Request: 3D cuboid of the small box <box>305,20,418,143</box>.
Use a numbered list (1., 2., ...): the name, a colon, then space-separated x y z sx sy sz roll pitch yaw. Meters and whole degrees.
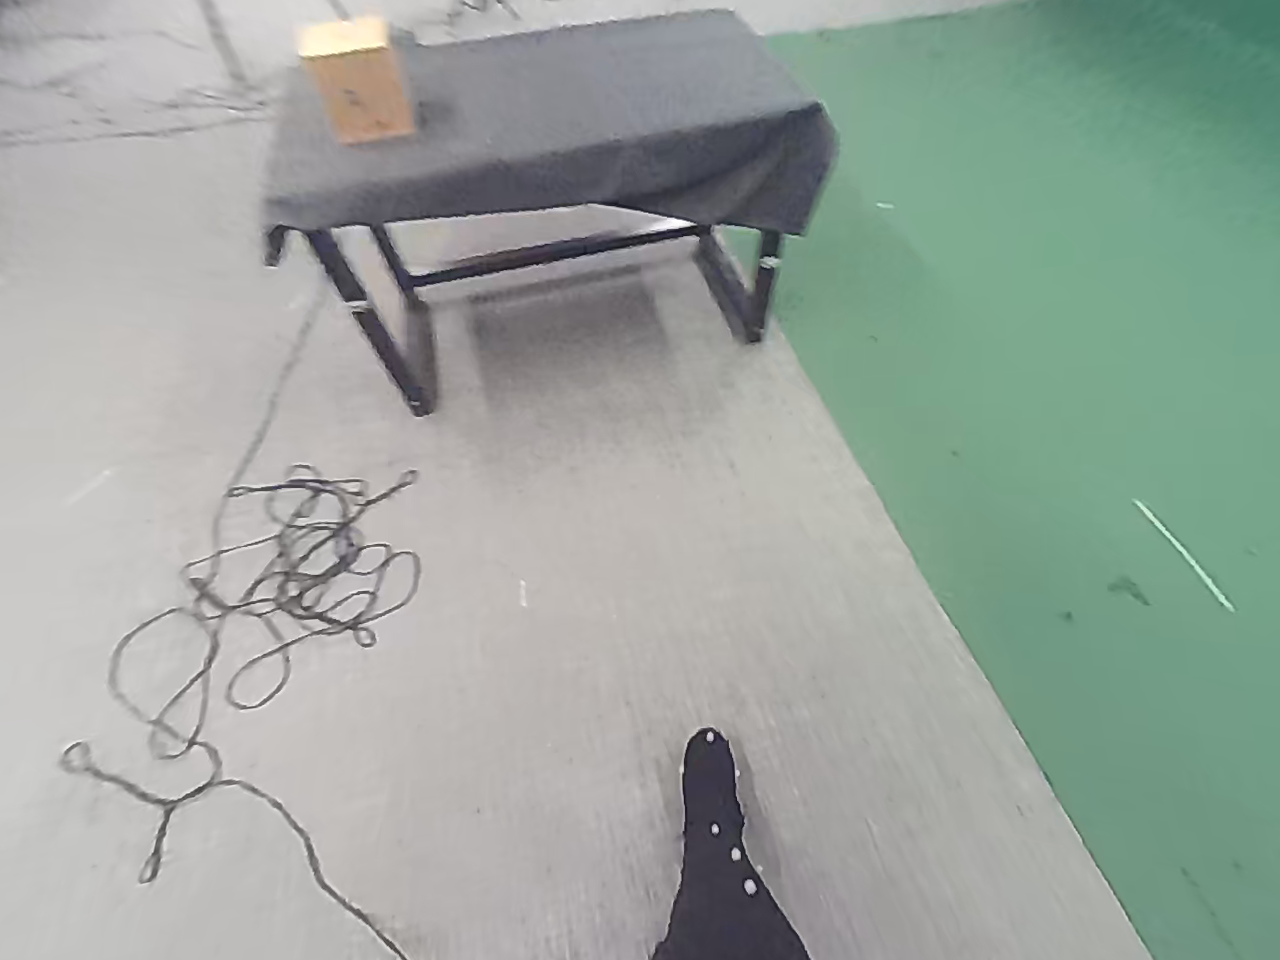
1. small box: -0.598 -0.861 1.179 0.168 0.176 0.179 -15 57 -7
